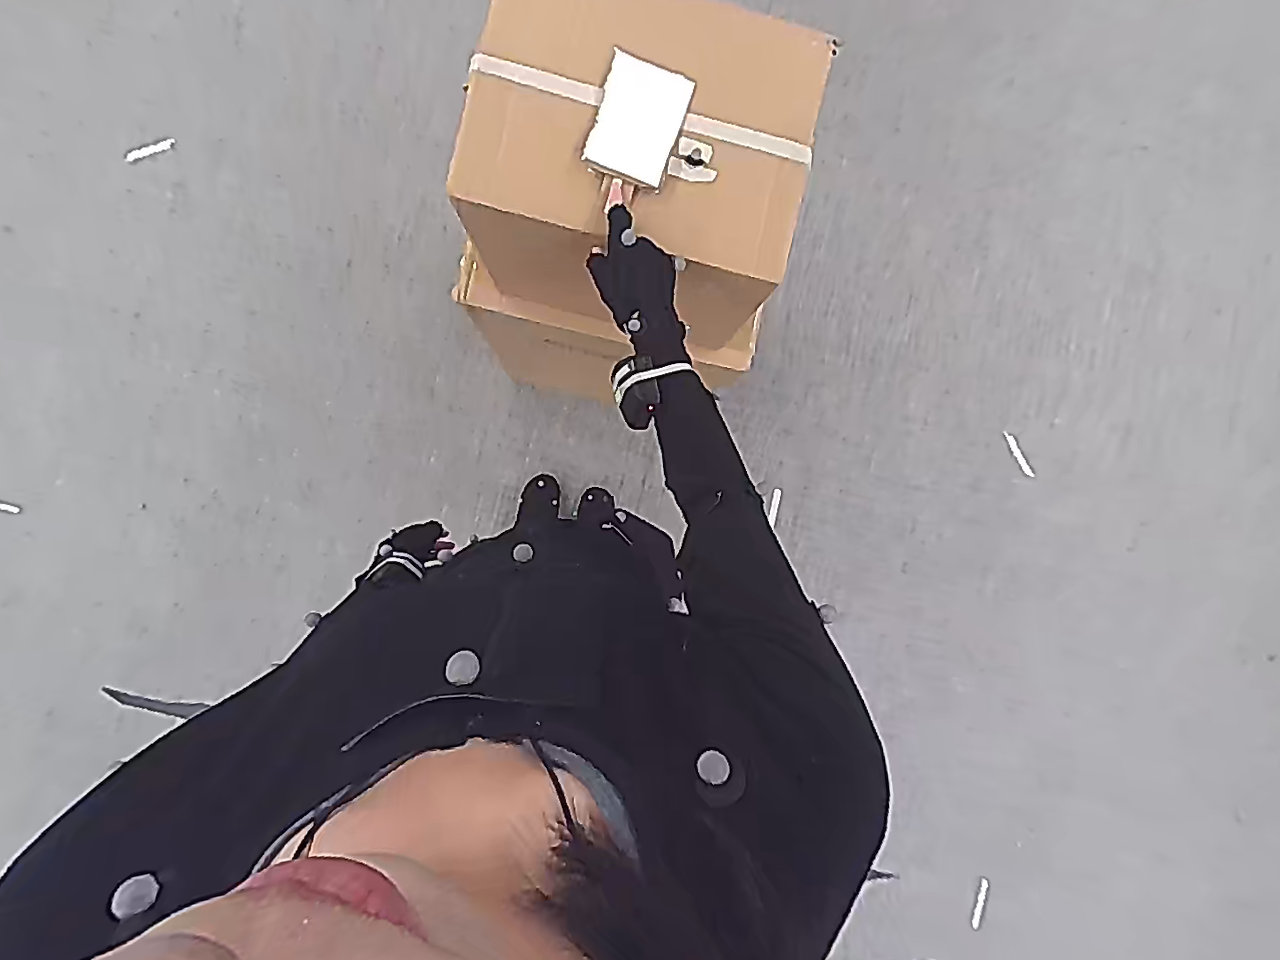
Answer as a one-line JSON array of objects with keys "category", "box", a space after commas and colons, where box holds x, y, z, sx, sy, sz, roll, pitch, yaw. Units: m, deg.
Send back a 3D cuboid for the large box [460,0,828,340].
[{"category": "large box", "box": [-0.004, -0.436, 0.798, 0.408, 0.320, 0.320, 13, 89, -5]}]
